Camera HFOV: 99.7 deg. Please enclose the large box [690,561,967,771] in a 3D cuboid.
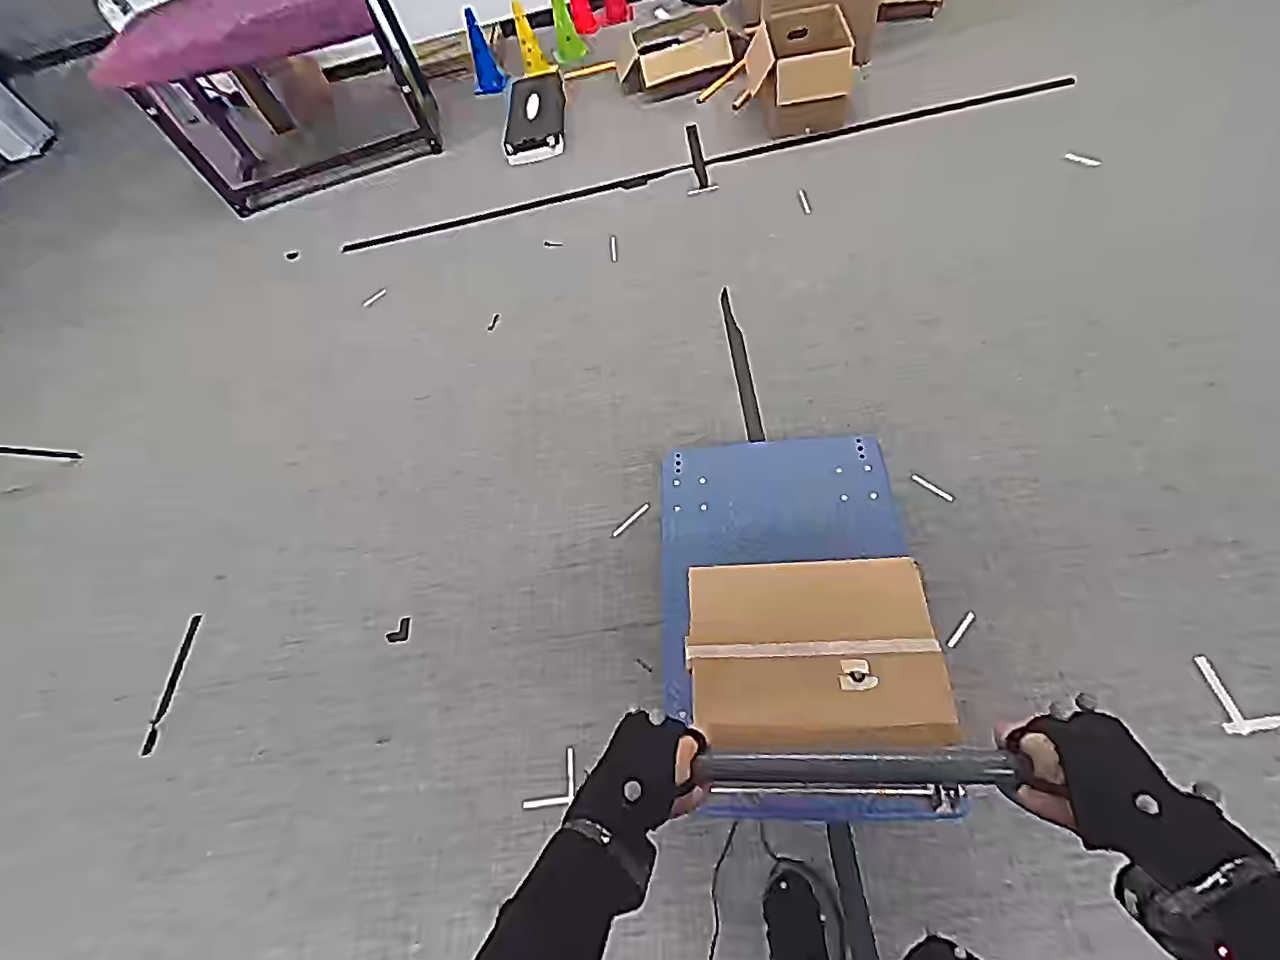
[{"bbox_3d":[0.310,0.364,1.020,0.408,0.320,0.320,-4,60,8],"label":"large box"}]
